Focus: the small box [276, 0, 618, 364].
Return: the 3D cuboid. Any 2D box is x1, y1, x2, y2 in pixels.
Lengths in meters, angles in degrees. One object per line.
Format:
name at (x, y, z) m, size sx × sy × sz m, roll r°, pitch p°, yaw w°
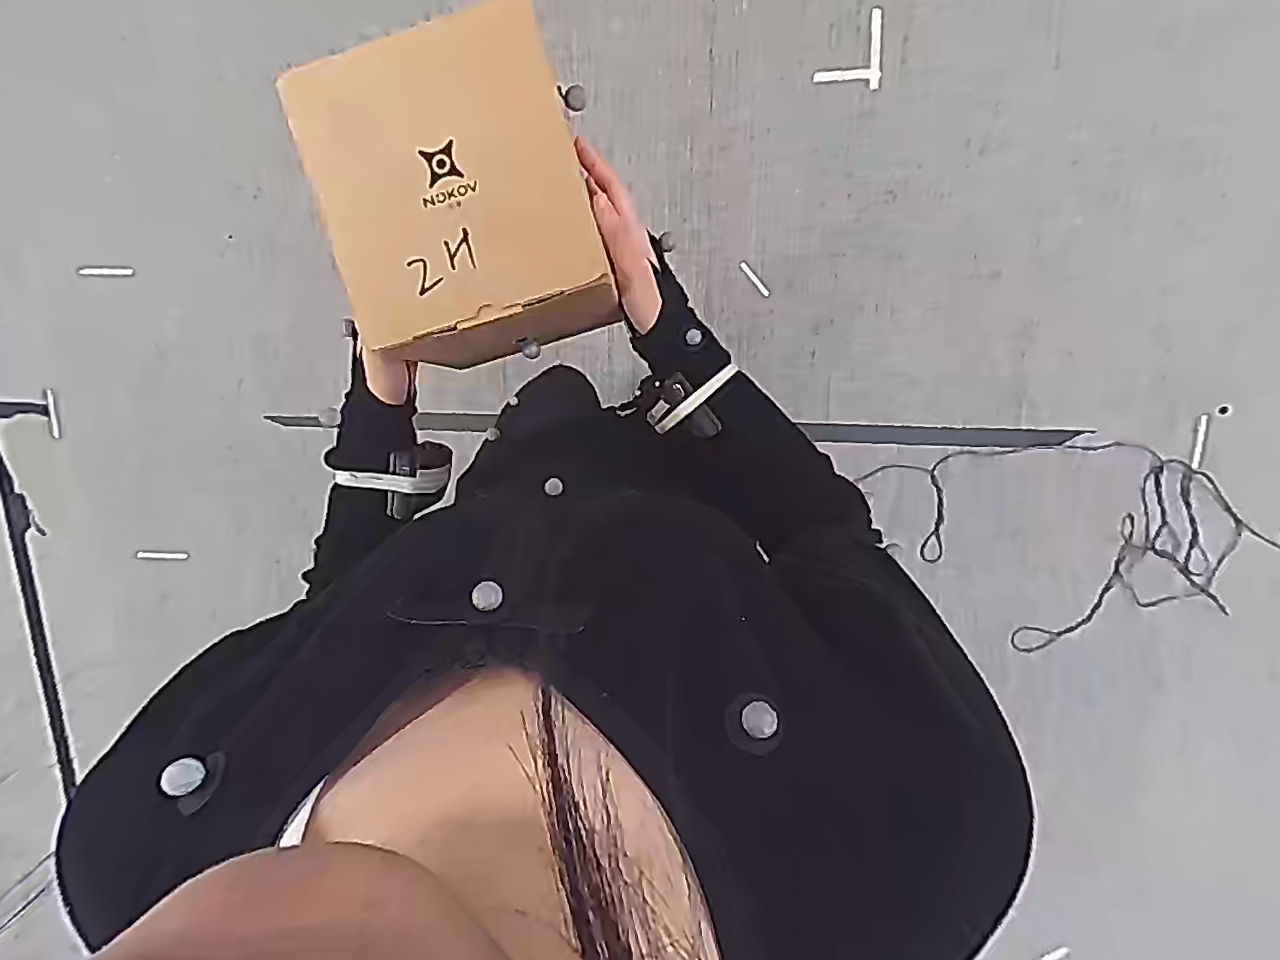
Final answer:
small box at (-0.120, -0.199, 0.413) m, size 0.168 × 0.176 × 0.179 m, roll -16°, pitch 98°, yaw 4°
